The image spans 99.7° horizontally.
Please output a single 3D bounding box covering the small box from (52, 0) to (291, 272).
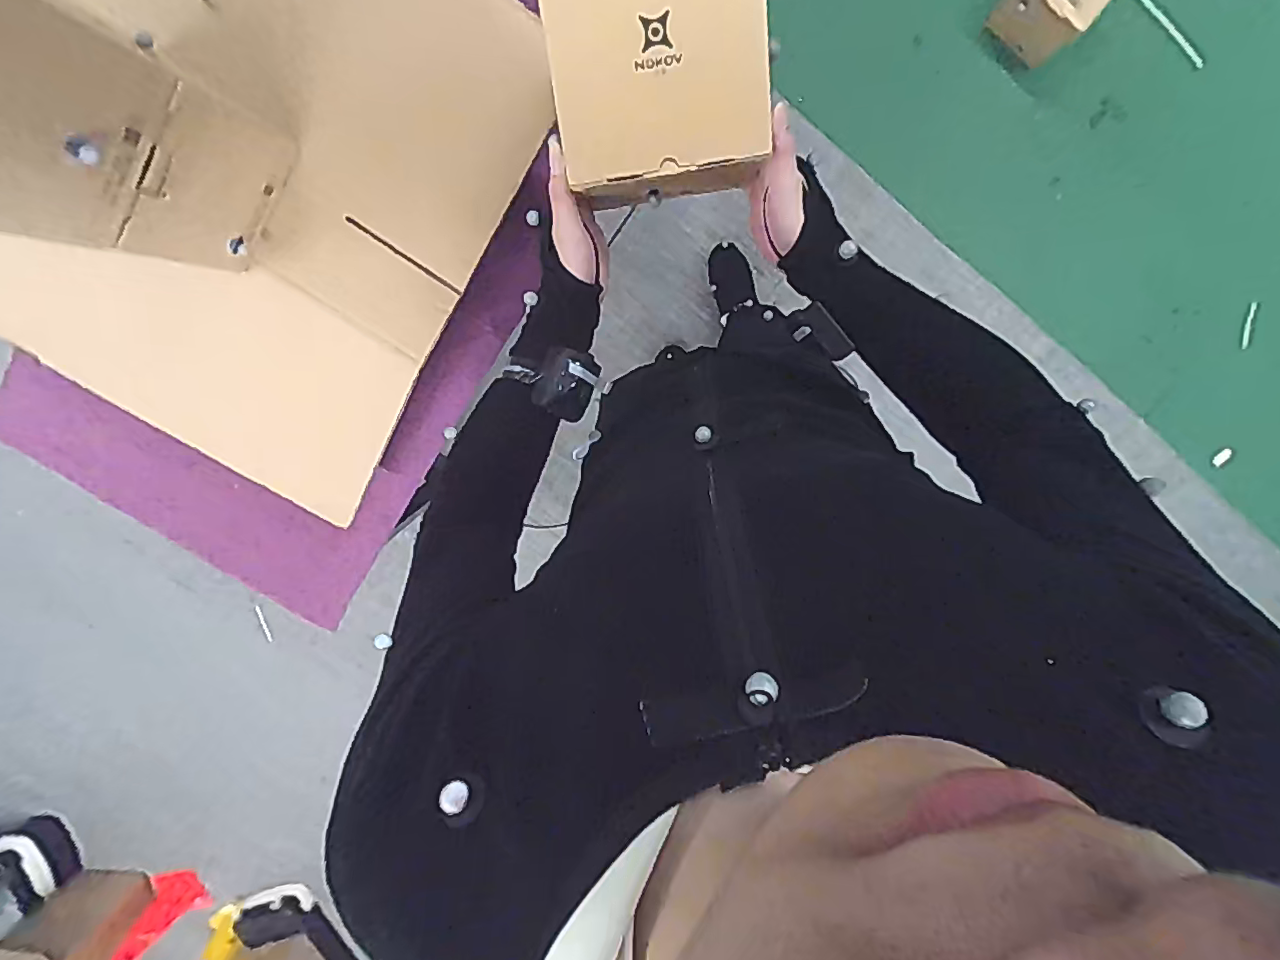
[{"bbox_3d":[-0.500,-0.328,0.539,0.179,0.176,0.168,32,102,-7],"label":"small box"}]

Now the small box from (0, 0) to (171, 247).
[{"bbox_3d":[-0.503,-0.289,0.379,0.179,0.176,0.168,32,102,-8],"label":"small box"}]

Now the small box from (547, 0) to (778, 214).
[{"bbox_3d":[0.018,-0.346,0.473,0.168,0.176,0.179,-7,112,4],"label":"small box"}]
